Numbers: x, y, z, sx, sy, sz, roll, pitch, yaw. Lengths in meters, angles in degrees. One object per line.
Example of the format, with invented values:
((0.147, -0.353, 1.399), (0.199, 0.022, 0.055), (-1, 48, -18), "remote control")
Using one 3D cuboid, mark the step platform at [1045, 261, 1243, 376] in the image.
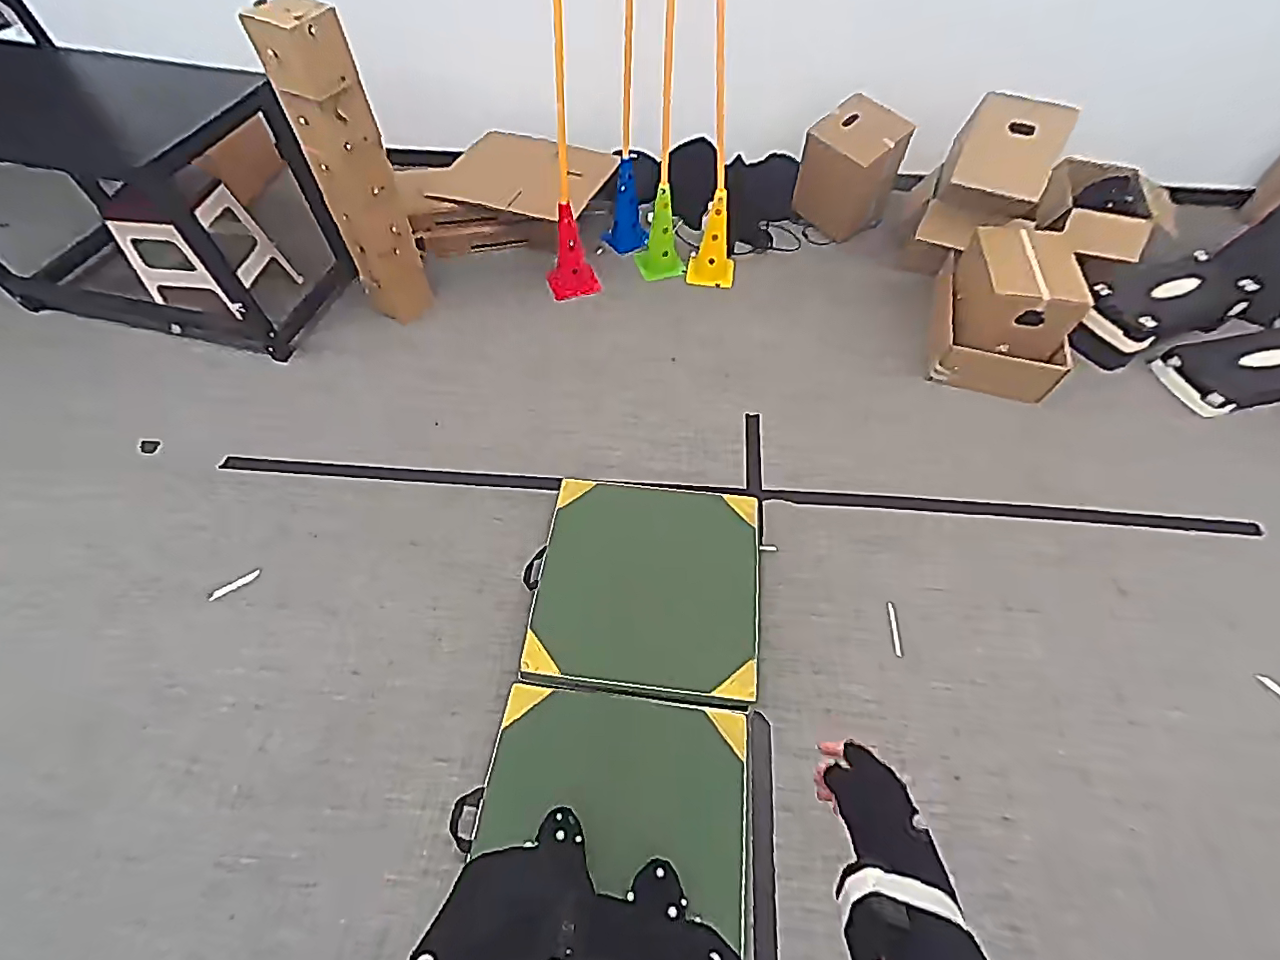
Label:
((2.009, -0.653, 2.158), (0.684, 0.204, 0.286), (-20, 59, -13), "step platform")
